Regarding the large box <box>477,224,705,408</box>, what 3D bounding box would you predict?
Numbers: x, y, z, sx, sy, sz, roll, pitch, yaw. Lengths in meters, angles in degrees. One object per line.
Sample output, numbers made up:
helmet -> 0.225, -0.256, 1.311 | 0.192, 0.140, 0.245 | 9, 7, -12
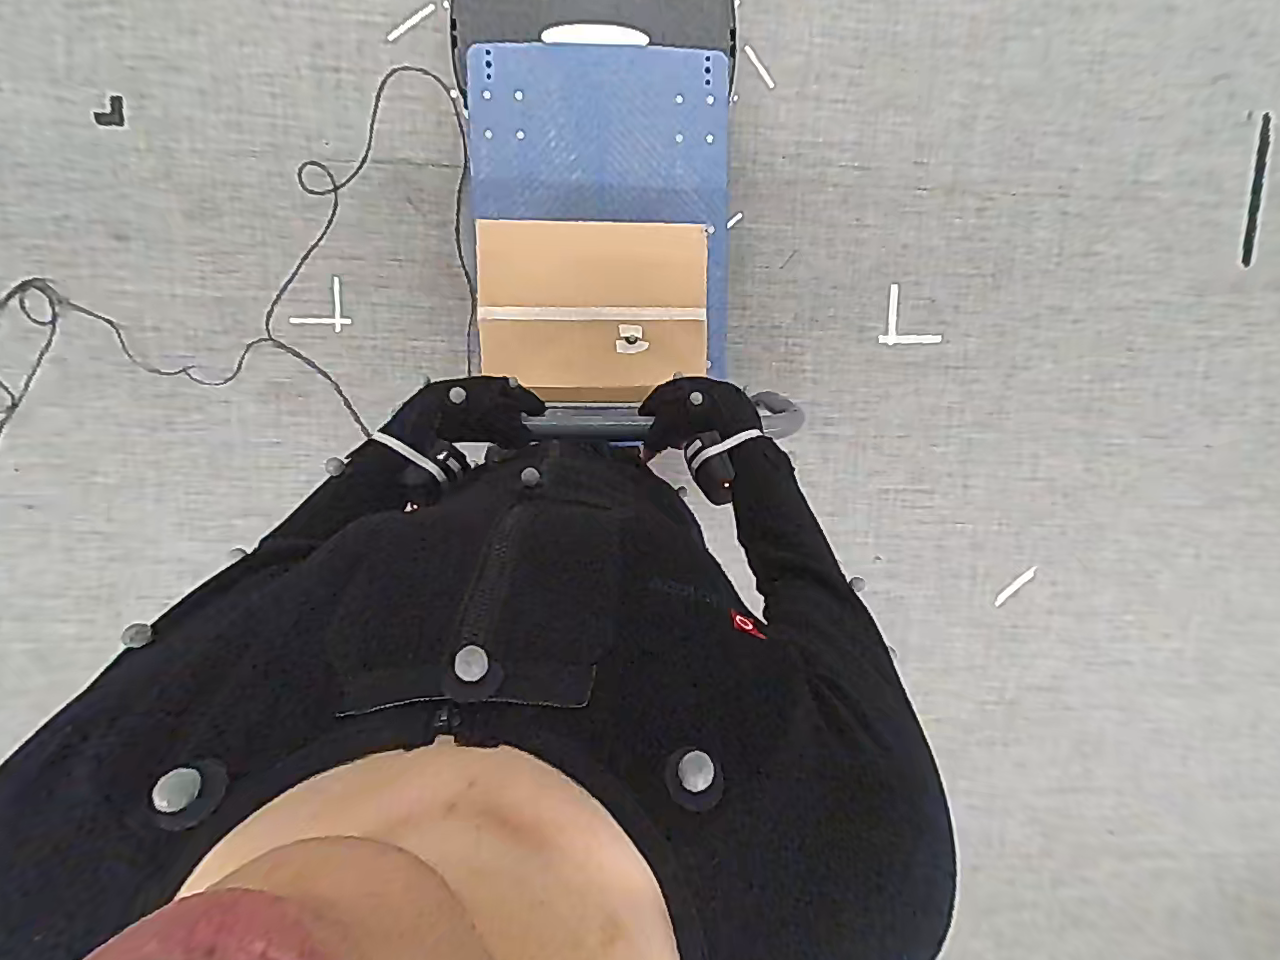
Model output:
large box -> -0.094, -0.310, 1.107 | 0.408, 0.320, 0.320 | -1, 98, -4
